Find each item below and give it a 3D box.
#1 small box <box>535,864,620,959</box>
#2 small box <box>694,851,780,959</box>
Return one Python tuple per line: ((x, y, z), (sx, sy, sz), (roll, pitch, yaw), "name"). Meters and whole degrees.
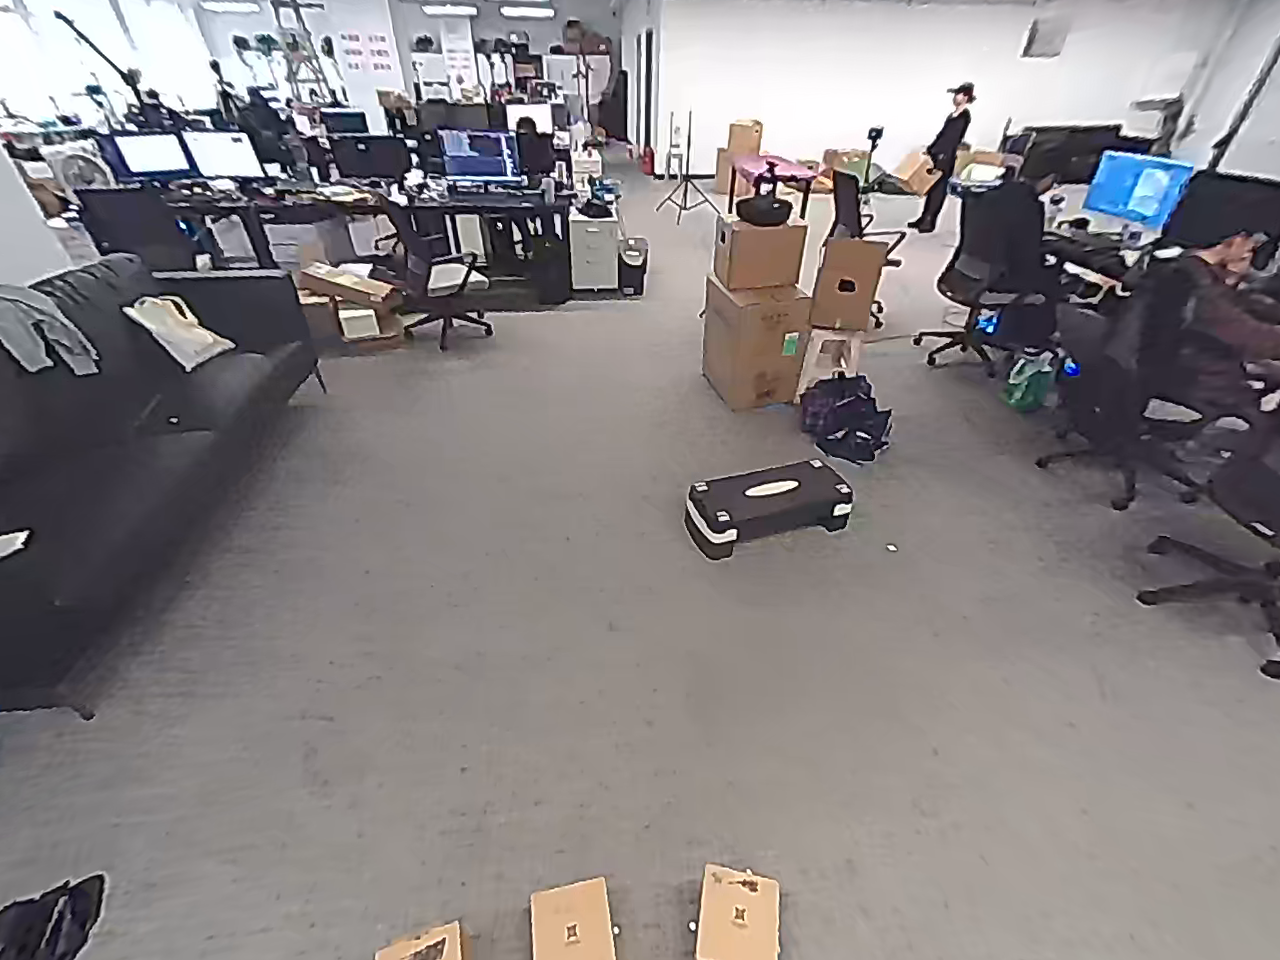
((-0.136, 0.986, 1.182), (0.168, 0.176, 0.179), (-7, 37, -11), "small box")
((0.214, 0.970, 1.198), (0.168, 0.176, 0.179), (8, 39, 11), "small box")
